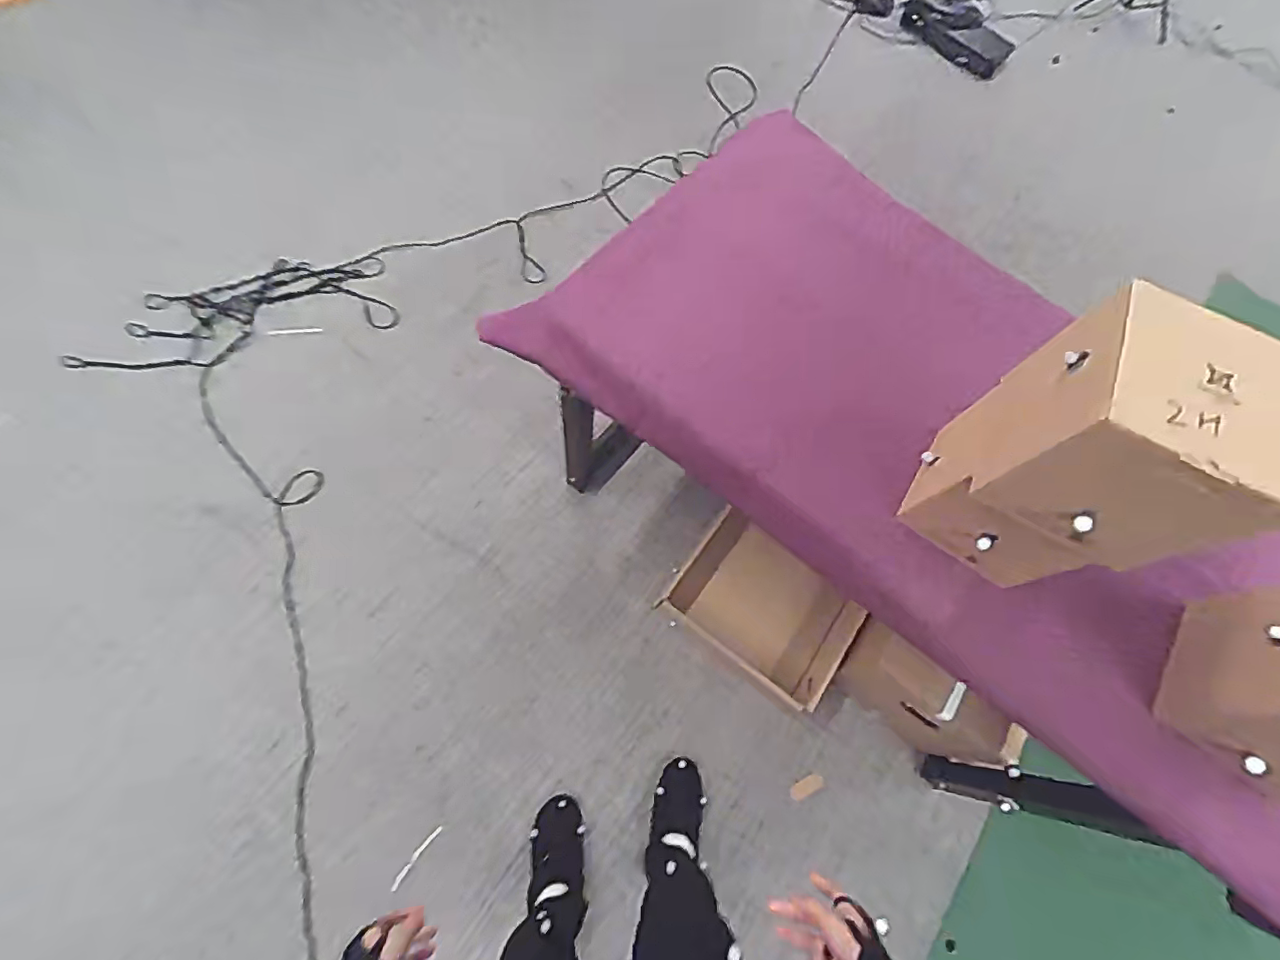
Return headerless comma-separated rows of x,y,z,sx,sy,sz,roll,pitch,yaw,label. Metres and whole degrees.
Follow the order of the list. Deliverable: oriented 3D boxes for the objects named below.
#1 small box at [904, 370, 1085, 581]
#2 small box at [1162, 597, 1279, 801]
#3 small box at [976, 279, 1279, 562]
0.469,0.004,0.682,0.168,0.176,0.179,34,68,8,small box
0.757,0.245,0.610,0.168,0.176,0.179,38,68,11,small box
0.466,-0.048,0.523,0.168,0.176,0.179,28,67,7,small box
